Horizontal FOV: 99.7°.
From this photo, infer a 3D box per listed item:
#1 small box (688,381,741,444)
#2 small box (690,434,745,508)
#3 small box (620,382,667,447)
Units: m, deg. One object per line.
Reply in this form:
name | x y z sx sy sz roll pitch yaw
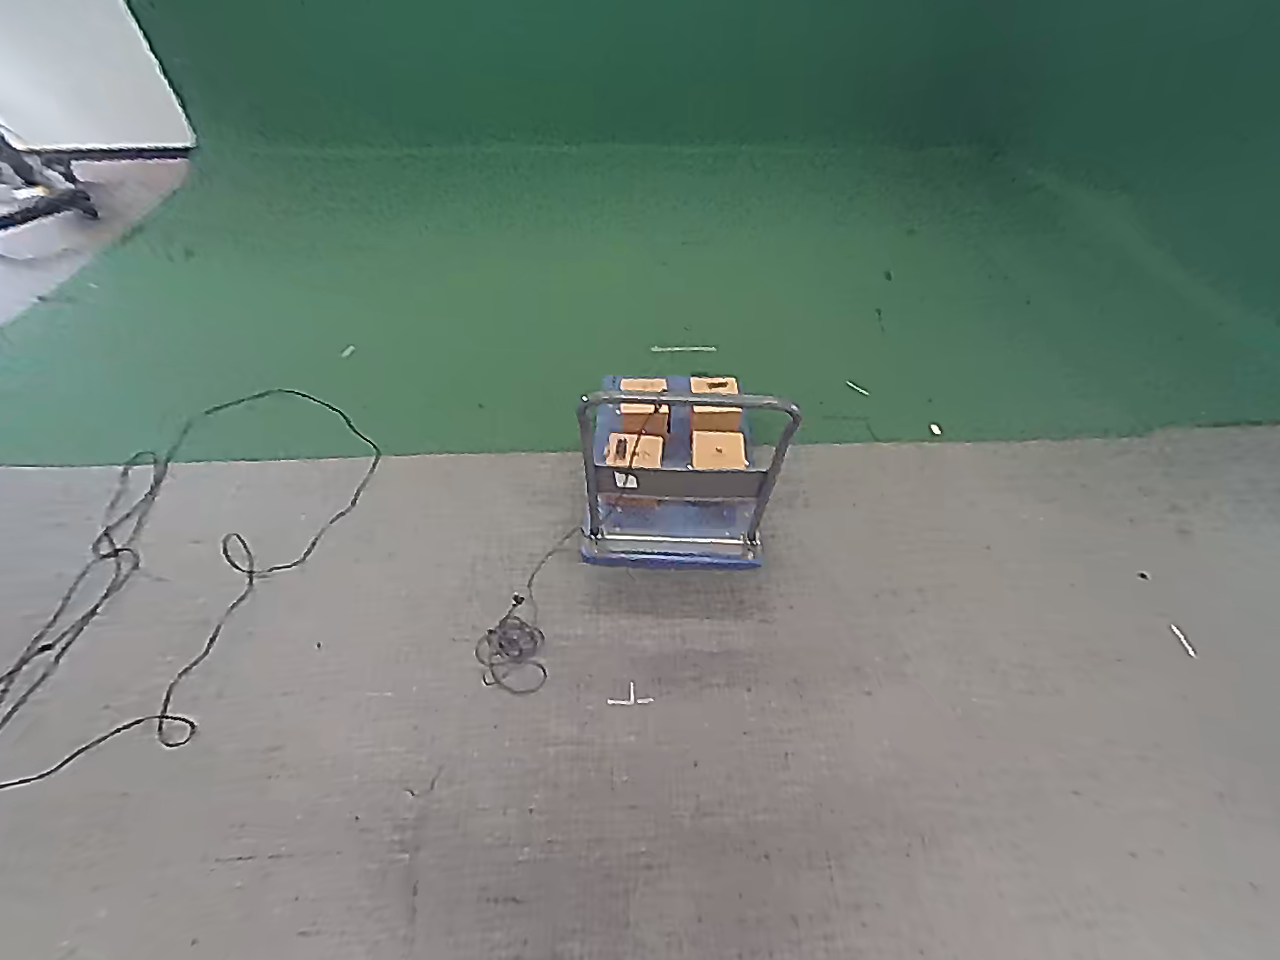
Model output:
small box | 0.264 -0.240 1.968 0.168 0.176 0.179 -1 52 0
small box | 0.253 -0.029 1.799 0.168 0.176 0.179 3 52 2
small box | 0.013 -0.234 1.964 0.168 0.176 0.179 -1 51 -1
